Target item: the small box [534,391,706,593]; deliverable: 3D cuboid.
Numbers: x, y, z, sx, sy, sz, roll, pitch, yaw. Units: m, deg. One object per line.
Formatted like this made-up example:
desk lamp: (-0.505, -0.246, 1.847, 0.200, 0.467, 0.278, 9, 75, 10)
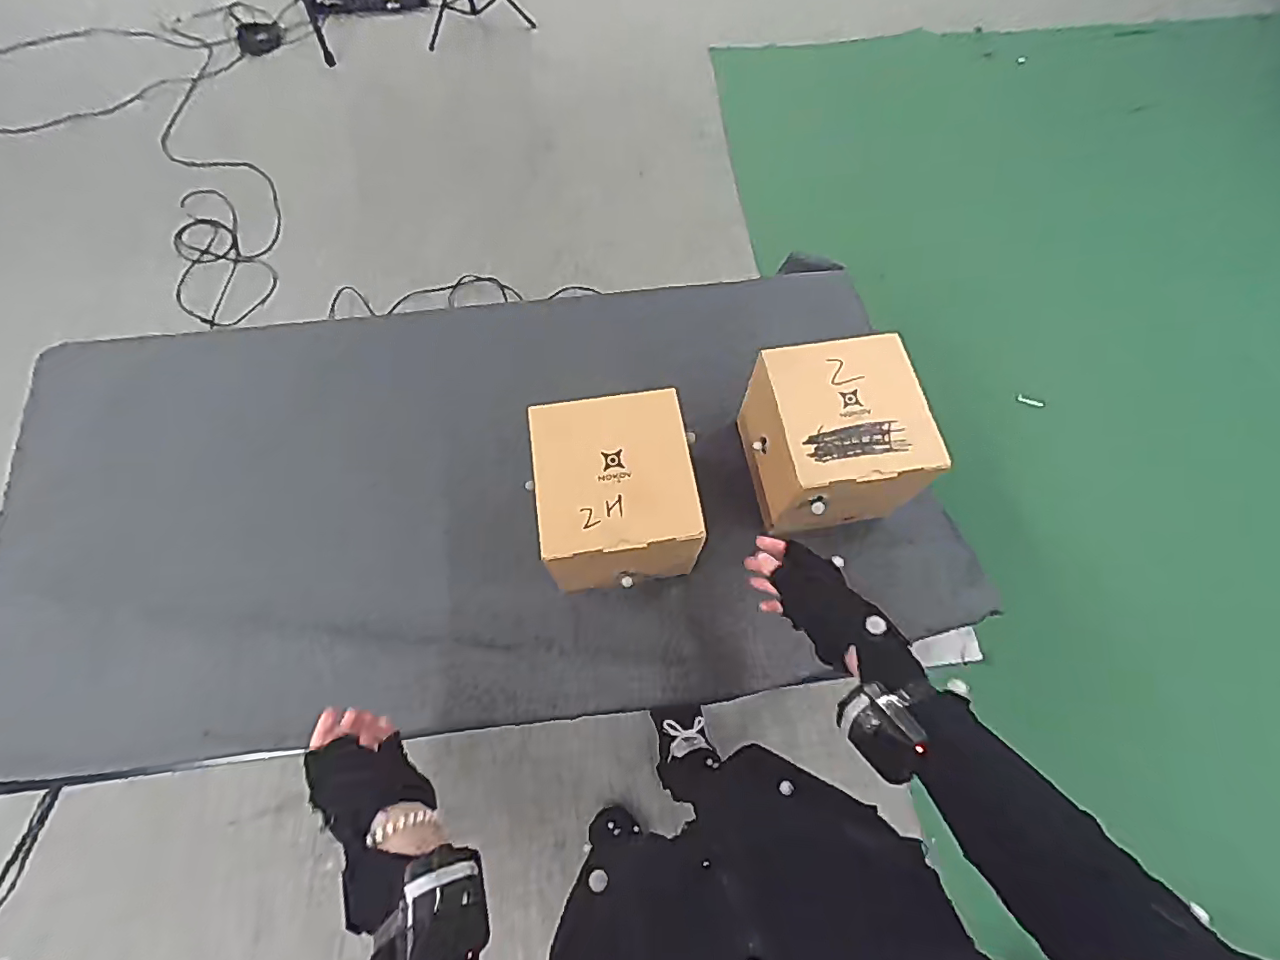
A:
small box: (-0.027, 0.020, 0.634, 0.168, 0.176, 0.179, -8, 66, -3)
